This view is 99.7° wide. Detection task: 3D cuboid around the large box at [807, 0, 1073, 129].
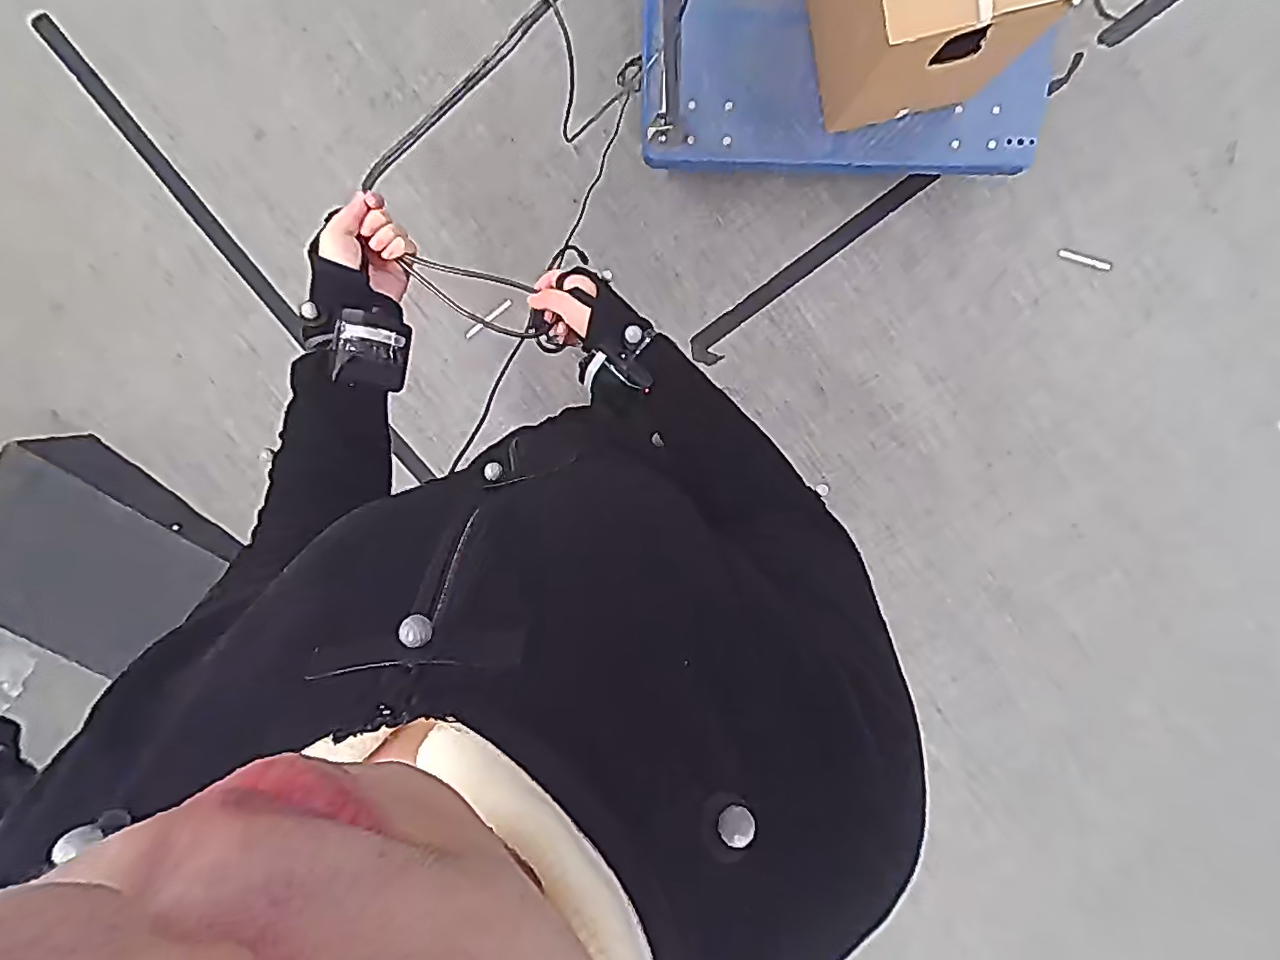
[{"bbox_3d":[0.511,-0.959,0.994,0.320,0.320,0.408,-12,100,3],"label":"large box"}]
